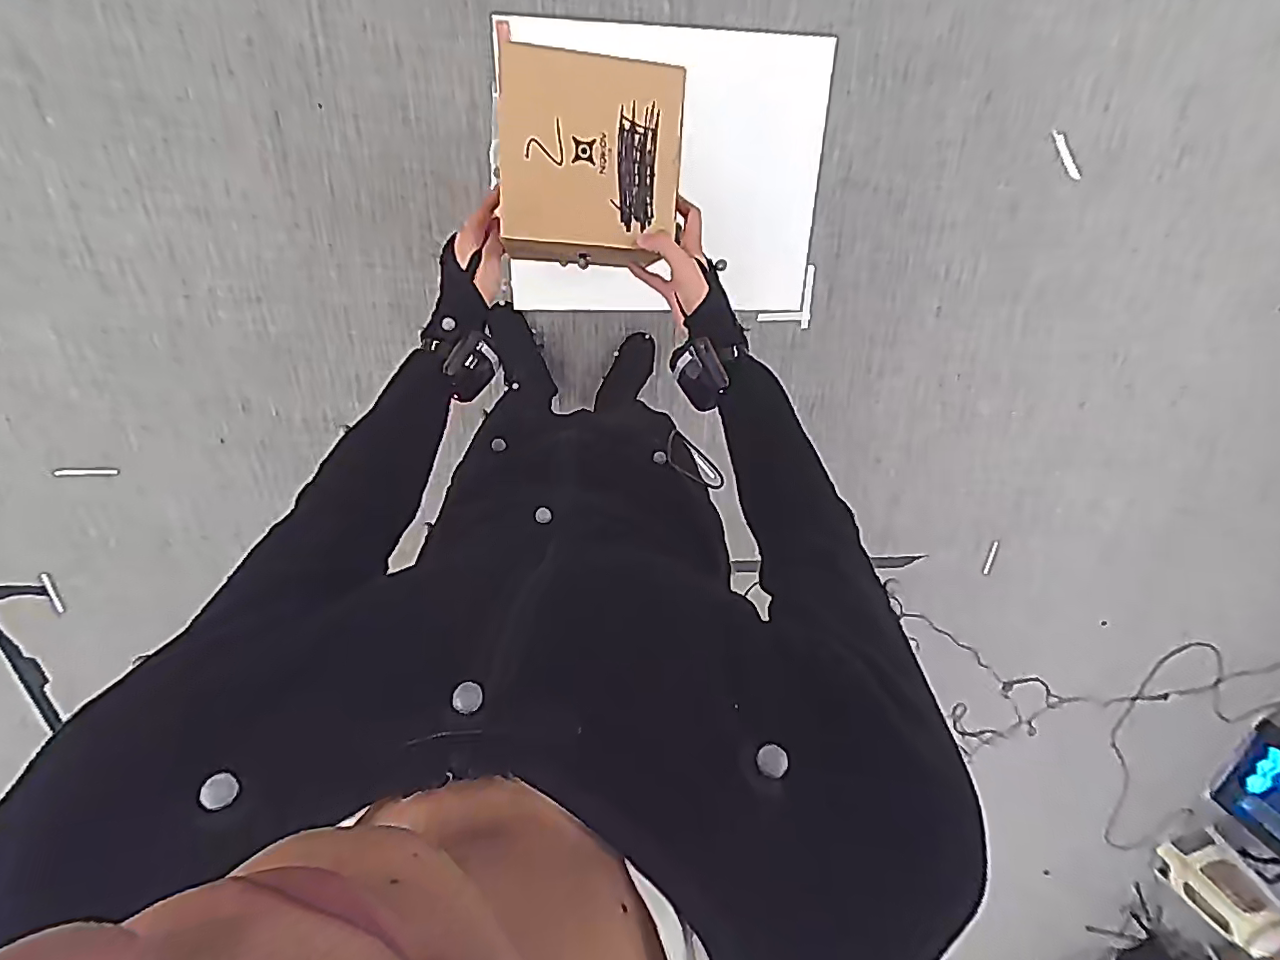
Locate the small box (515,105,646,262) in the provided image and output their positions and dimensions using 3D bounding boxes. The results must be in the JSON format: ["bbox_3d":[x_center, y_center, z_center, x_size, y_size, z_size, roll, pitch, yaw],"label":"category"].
[{"bbox_3d":[-0.086,-0.415,0.778,0.168,0.176,0.179,-2,114,-8],"label":"small box"}]
